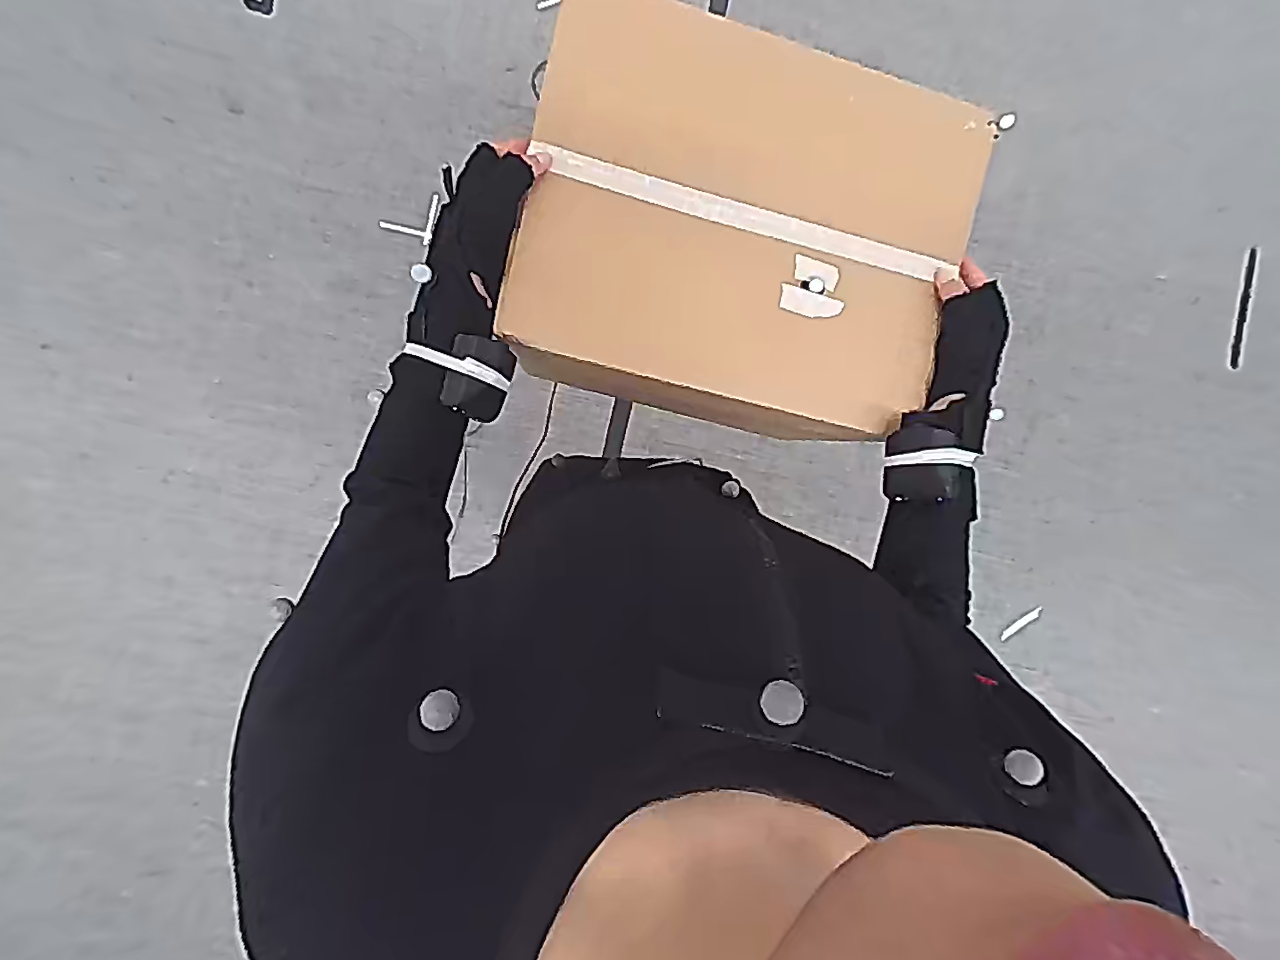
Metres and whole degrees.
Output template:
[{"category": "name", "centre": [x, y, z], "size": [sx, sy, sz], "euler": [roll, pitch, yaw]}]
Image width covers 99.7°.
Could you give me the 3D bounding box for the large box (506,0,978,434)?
[{"category": "large box", "centre": [0.081, -0.245, 0.644], "size": [0.408, 0.320, 0.320], "euler": [13, 94, -9]}]
